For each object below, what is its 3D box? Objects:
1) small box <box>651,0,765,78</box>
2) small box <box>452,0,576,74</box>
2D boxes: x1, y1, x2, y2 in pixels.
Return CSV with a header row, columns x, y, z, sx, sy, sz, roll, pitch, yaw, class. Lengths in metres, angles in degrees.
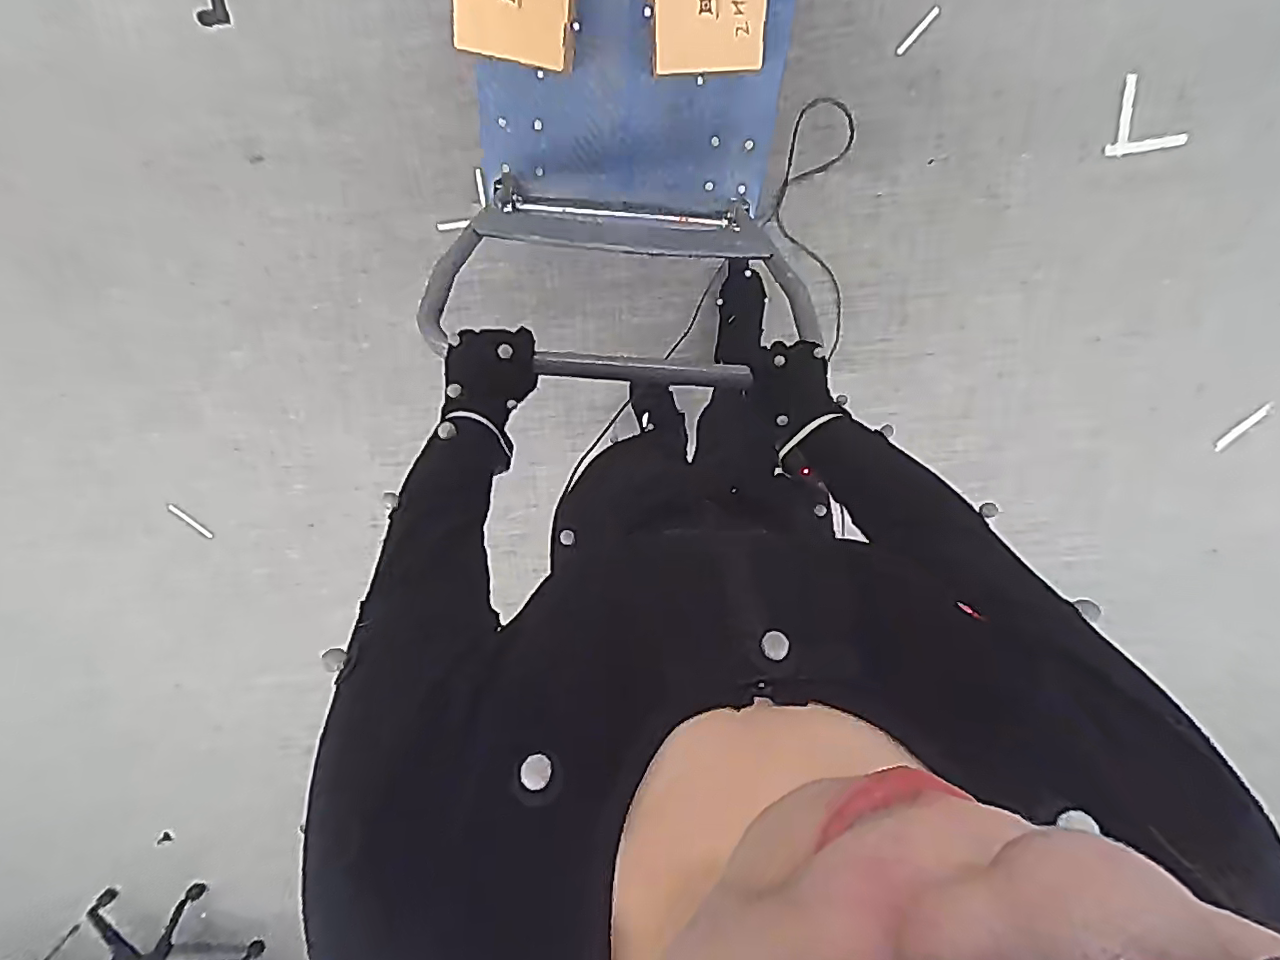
x,y,z,sx,sy,sz,roll,pitch,yaw,class
0.106,-0.778,0.902,0.179,0.176,0.168,-2,126,0,small box
-0.201,-0.787,0.890,0.179,0.176,0.168,6,124,-7,small box
